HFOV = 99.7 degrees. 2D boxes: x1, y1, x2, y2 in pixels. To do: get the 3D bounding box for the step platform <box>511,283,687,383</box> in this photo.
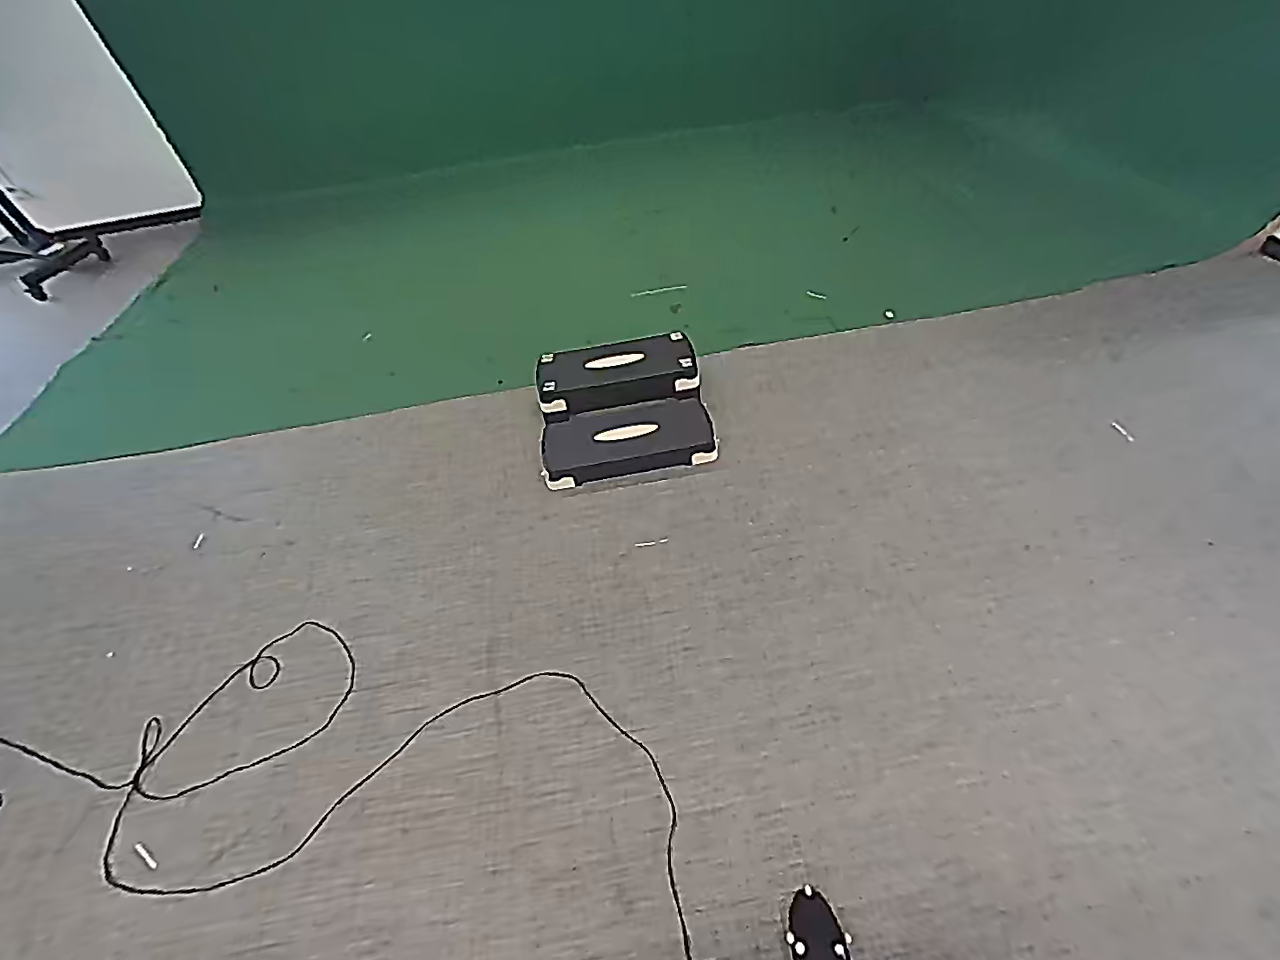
[{"bbox_3d":[-0.157,-0.591,2.168,0.684,0.204,0.286,-11,48,-1],"label":"step platform"}]
